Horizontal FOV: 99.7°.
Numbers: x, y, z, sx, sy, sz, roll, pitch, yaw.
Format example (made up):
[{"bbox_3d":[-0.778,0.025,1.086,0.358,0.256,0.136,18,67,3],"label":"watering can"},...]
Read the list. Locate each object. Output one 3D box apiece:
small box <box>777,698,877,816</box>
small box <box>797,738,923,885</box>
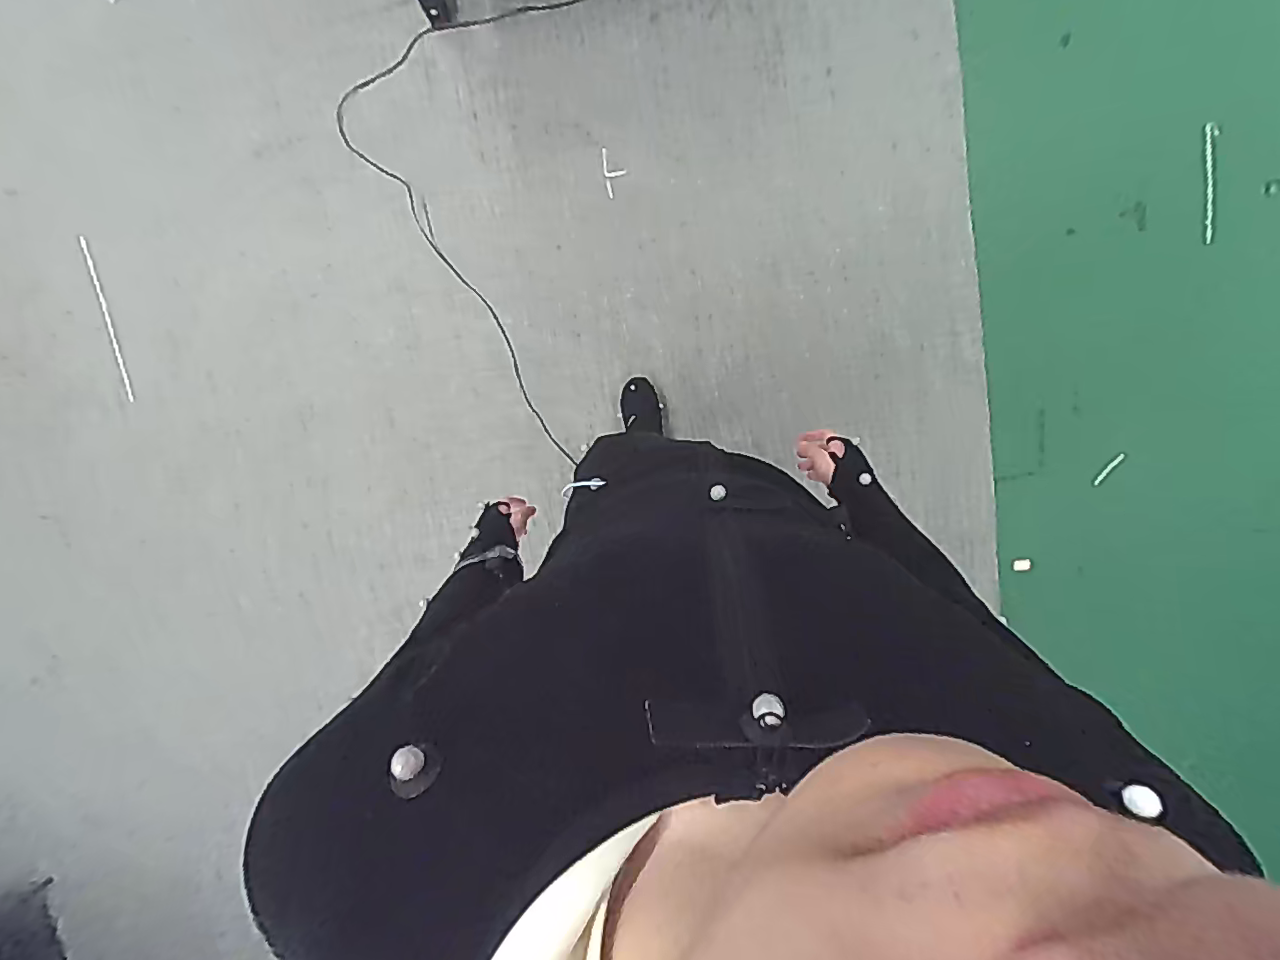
[{"bbox_3d":[0.417,0.607,1.205,0.179,0.176,0.168,-9,97,4],"label":"small box"},{"bbox_3d":[0.411,0.629,1.043,0.179,0.176,0.168,-11,97,4],"label":"small box"}]
